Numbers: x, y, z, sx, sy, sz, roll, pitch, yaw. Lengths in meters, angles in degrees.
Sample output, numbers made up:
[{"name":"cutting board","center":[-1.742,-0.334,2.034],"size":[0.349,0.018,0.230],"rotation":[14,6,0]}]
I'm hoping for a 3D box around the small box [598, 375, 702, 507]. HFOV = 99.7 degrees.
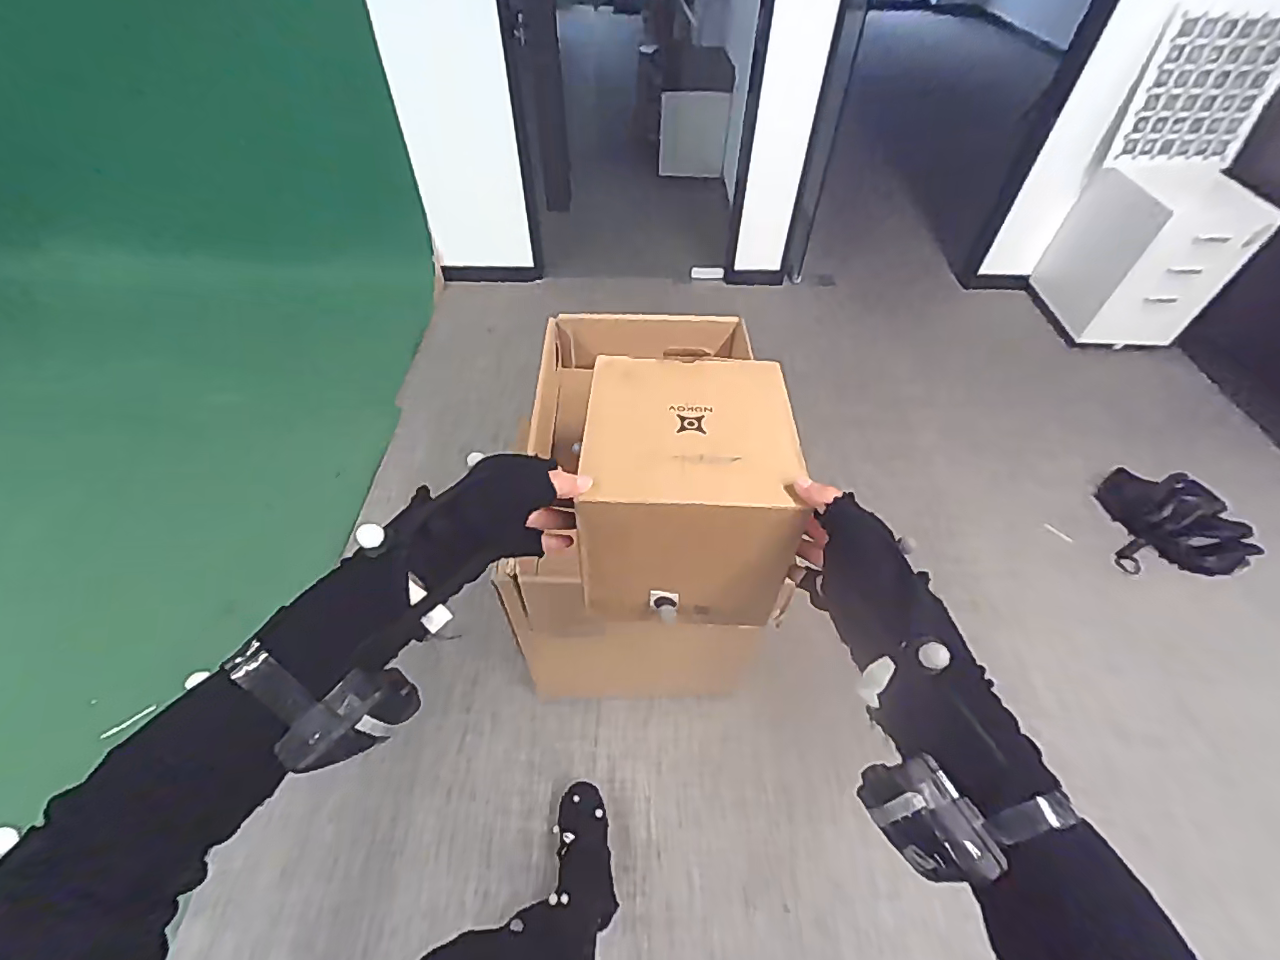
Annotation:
[{"name":"small box","center":[0.014,-0.066,0.951],"size":[0.168,0.176,0.179],"rotation":[0,50,-2]}]
